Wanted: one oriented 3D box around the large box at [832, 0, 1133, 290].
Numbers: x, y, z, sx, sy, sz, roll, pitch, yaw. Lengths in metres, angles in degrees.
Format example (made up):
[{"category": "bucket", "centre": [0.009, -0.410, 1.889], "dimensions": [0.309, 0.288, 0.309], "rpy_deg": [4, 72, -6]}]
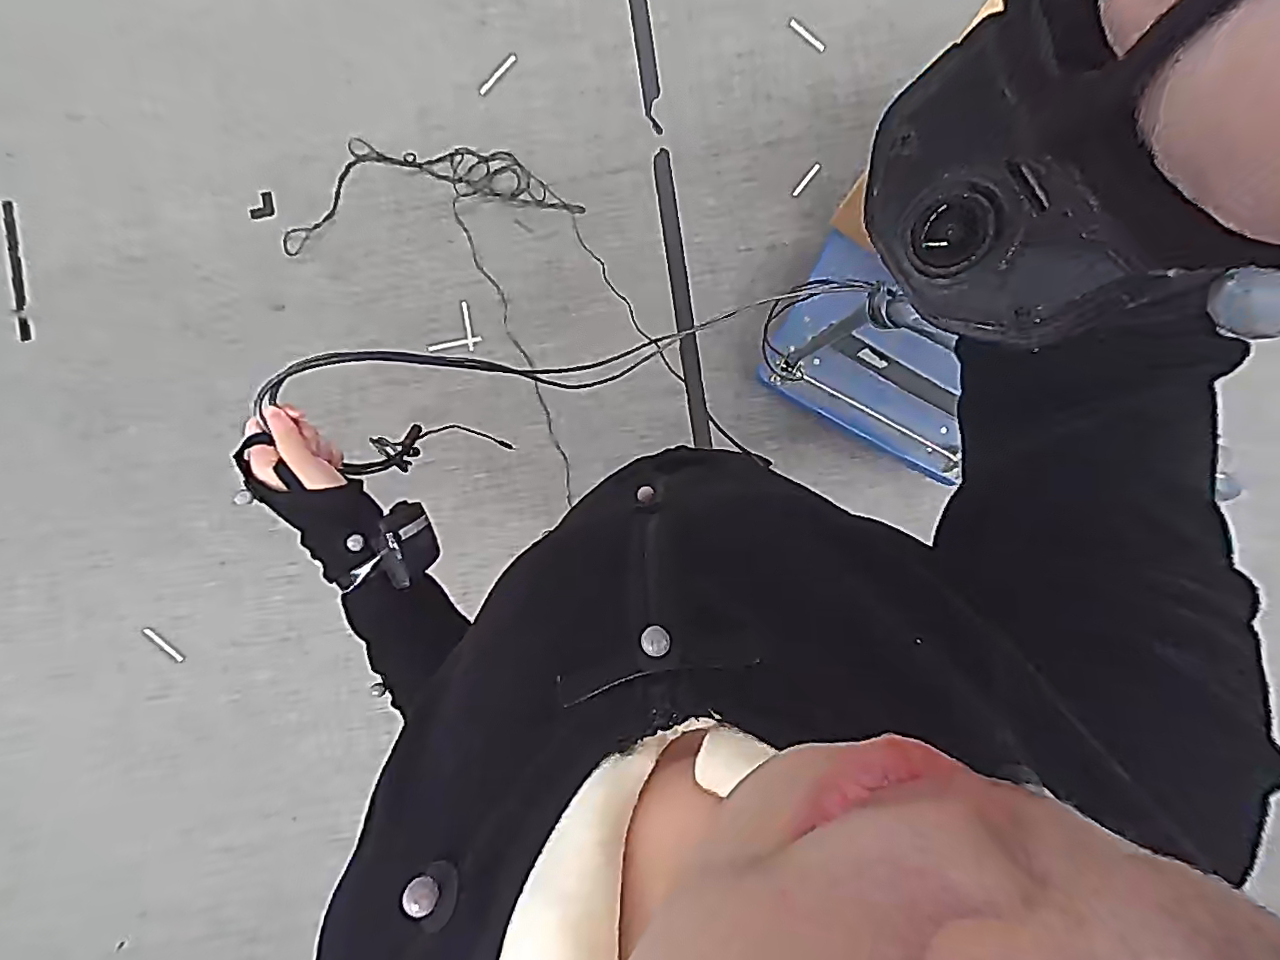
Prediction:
[{"category": "large box", "centre": [0.688, -0.697, 1.157], "dimensions": [0.320, 0.320, 0.408], "rpy_deg": [34, 90, -1]}]
